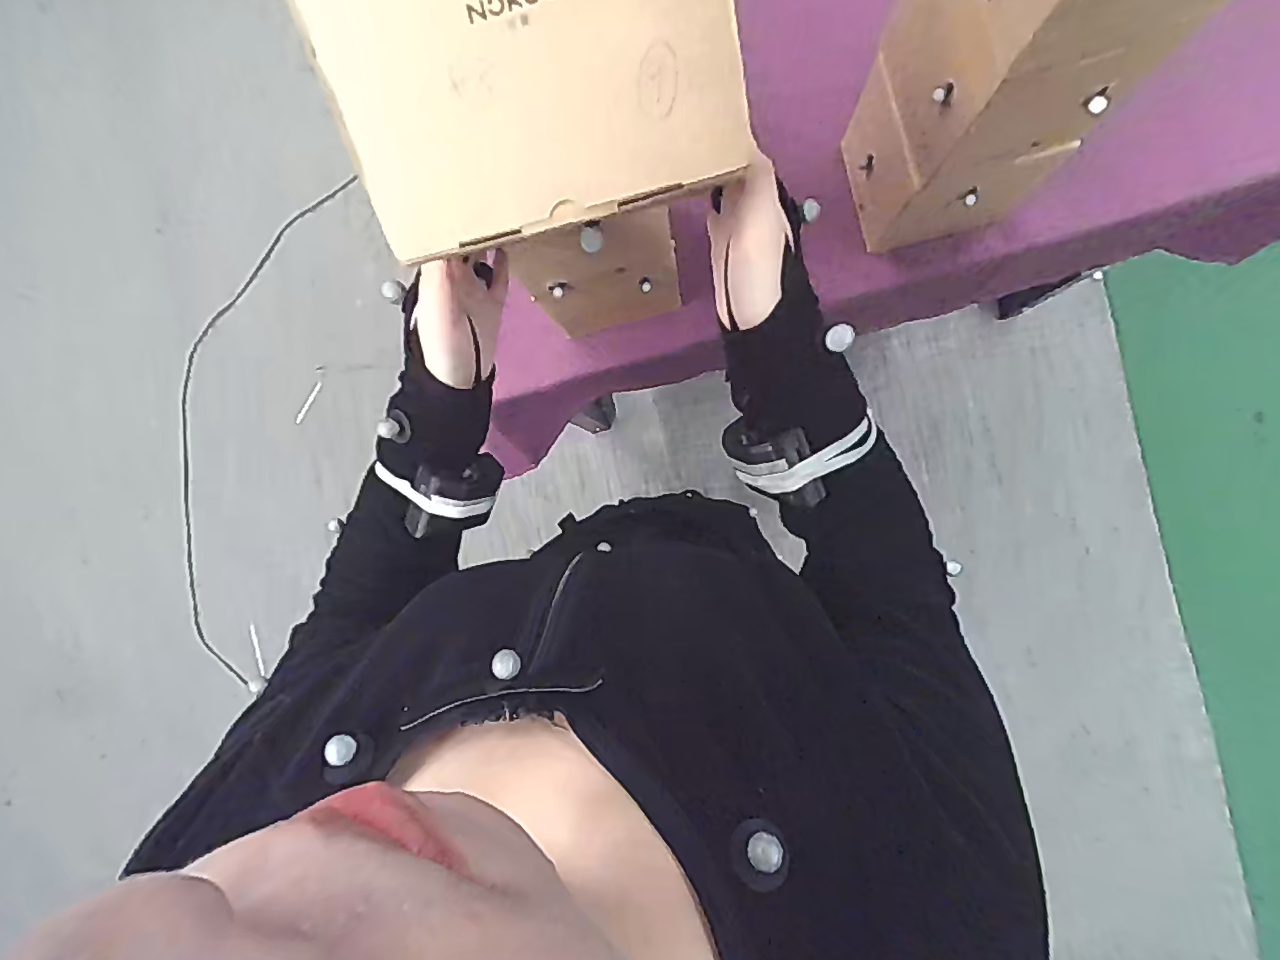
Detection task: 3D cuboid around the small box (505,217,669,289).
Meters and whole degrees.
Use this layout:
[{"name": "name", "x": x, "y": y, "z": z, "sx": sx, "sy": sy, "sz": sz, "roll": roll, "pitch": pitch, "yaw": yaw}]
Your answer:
[{"name": "small box", "x": -0.070, "y": -0.314, "z": 0.548, "sx": 0.168, "sy": 0.176, "sz": 0.179, "roll": -15, "pitch": 87, "yaw": 4}]

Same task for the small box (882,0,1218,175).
[{"name": "small box", "x": 0.354, "y": -0.420, "z": 0.506, "sx": 0.168, "sy": 0.176, "sz": 0.179, "roll": -15, "pitch": 87, "yaw": 5}]

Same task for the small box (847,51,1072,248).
[{"name": "small box", "x": 0.371, "y": -0.413, "z": 0.668, "sx": 0.179, "sy": 0.176, "sz": 0.168, "roll": -13, "pitch": 89, "yaw": 6}]

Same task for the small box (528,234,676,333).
[{"name": "small box", "x": -0.055, "y": -0.311, "z": 0.712, "sx": 0.179, "sy": 0.176, "sz": 0.168, "roll": -14, "pitch": 88, "yaw": 4}]

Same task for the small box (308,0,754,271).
[{"name": "small box", "x": -0.043, "y": -0.224, "z": 0.277, "sx": 0.168, "sy": 0.176, "sz": 0.179, "roll": -11, "pitch": 117, "yaw": 6}]
